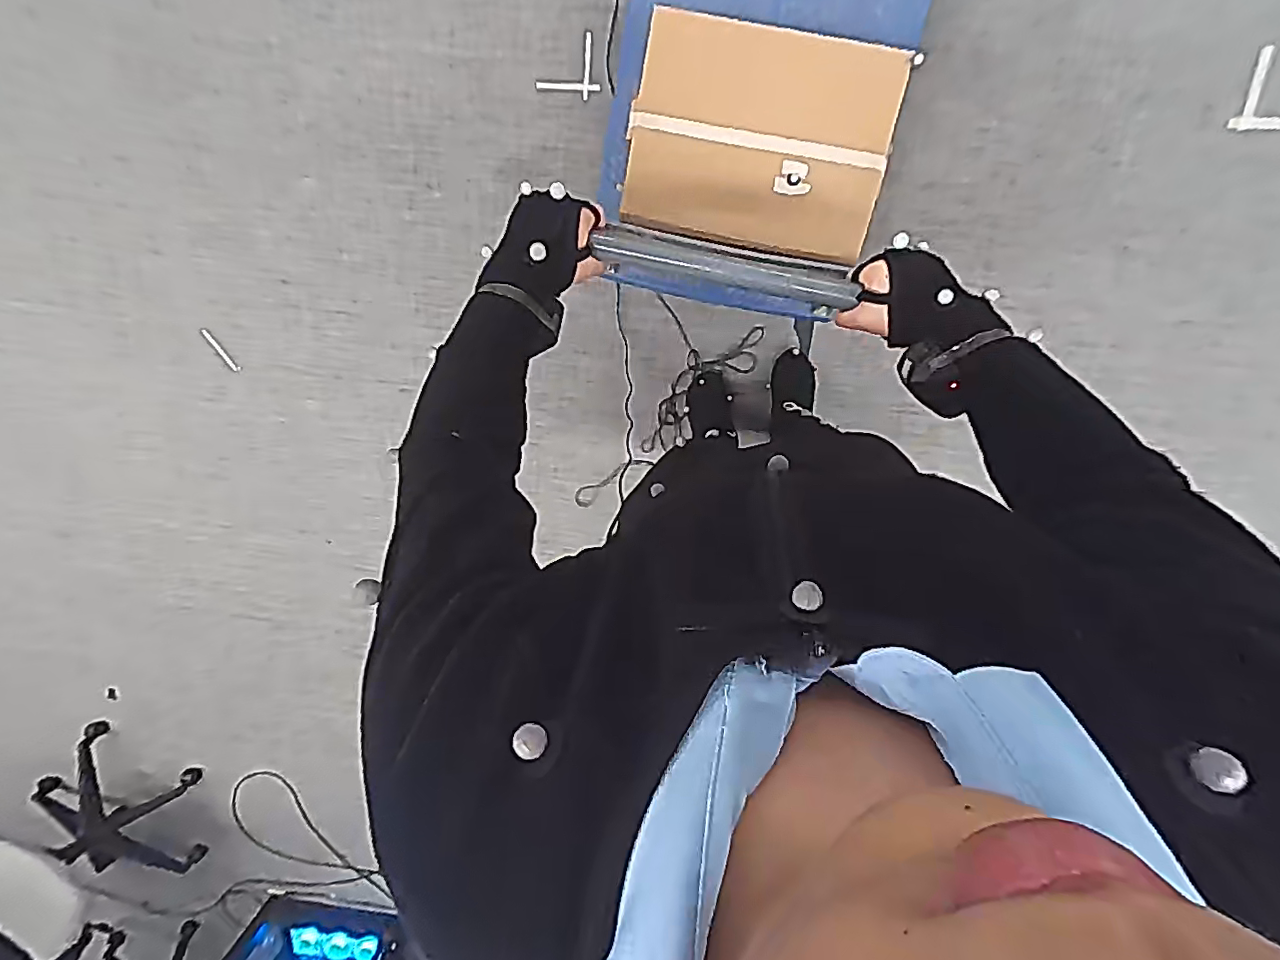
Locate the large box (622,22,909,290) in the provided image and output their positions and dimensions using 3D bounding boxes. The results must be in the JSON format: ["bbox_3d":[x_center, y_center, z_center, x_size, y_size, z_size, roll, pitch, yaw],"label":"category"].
[{"bbox_3d":[0.197,-0.558,1.003,0.408,0.320,0.320,11,106,1],"label":"large box"}]
